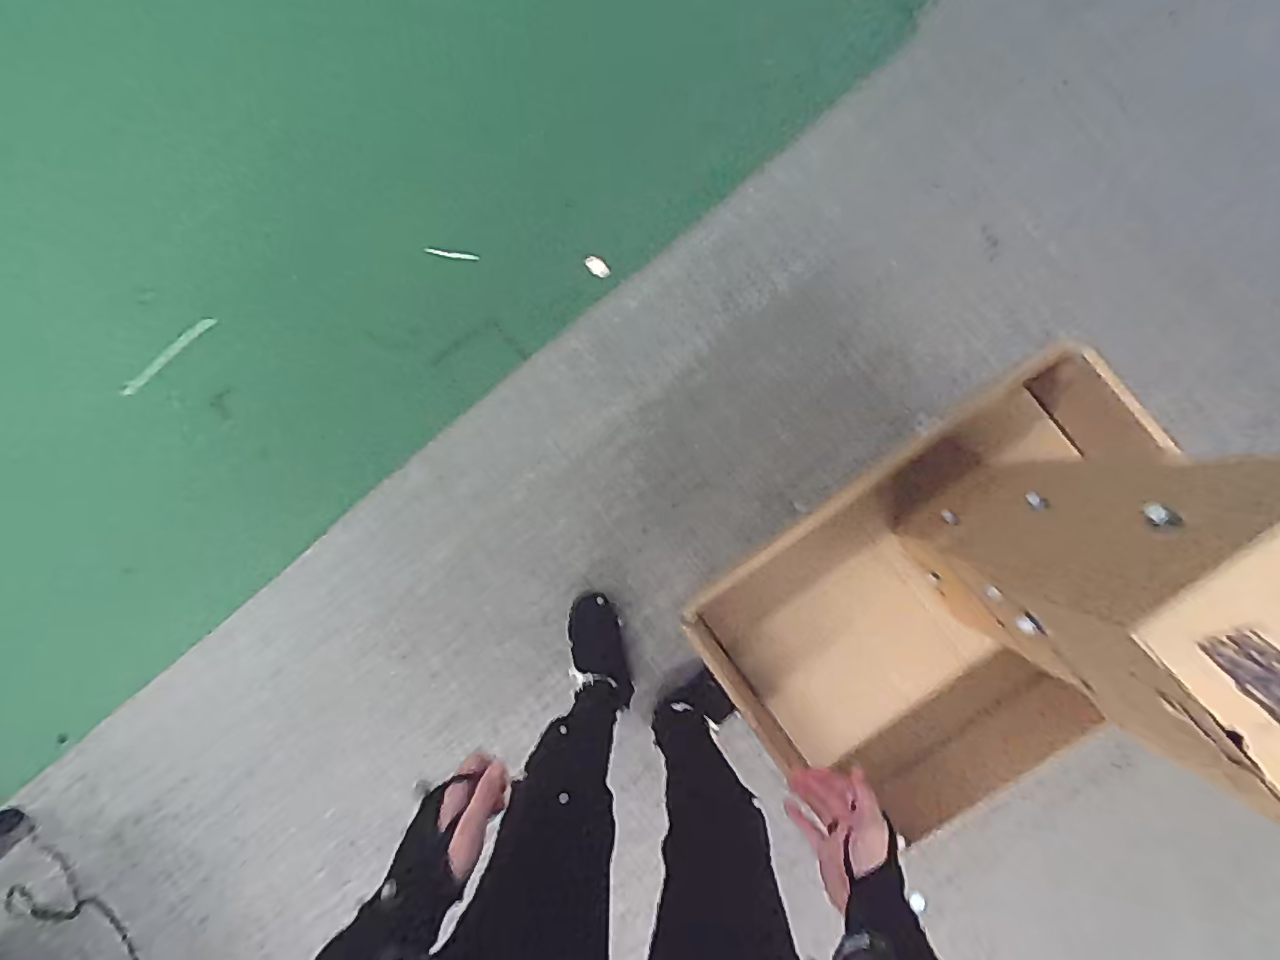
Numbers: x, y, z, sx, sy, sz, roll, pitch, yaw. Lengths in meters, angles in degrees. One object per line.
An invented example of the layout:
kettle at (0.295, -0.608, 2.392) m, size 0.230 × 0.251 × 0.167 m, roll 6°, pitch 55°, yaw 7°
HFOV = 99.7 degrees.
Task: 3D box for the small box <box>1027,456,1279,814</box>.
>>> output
small box at (0.421, 0.098, 0.379) m, size 0.179 × 0.176 × 0.168 m, roll -39°, pitch 84°, yaw 6°

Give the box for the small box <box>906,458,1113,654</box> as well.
small box at (0.488, 0.088, 0.702) m, size 0.179 × 0.176 × 0.168 m, roll -37°, pitch 84°, yaw 7°
